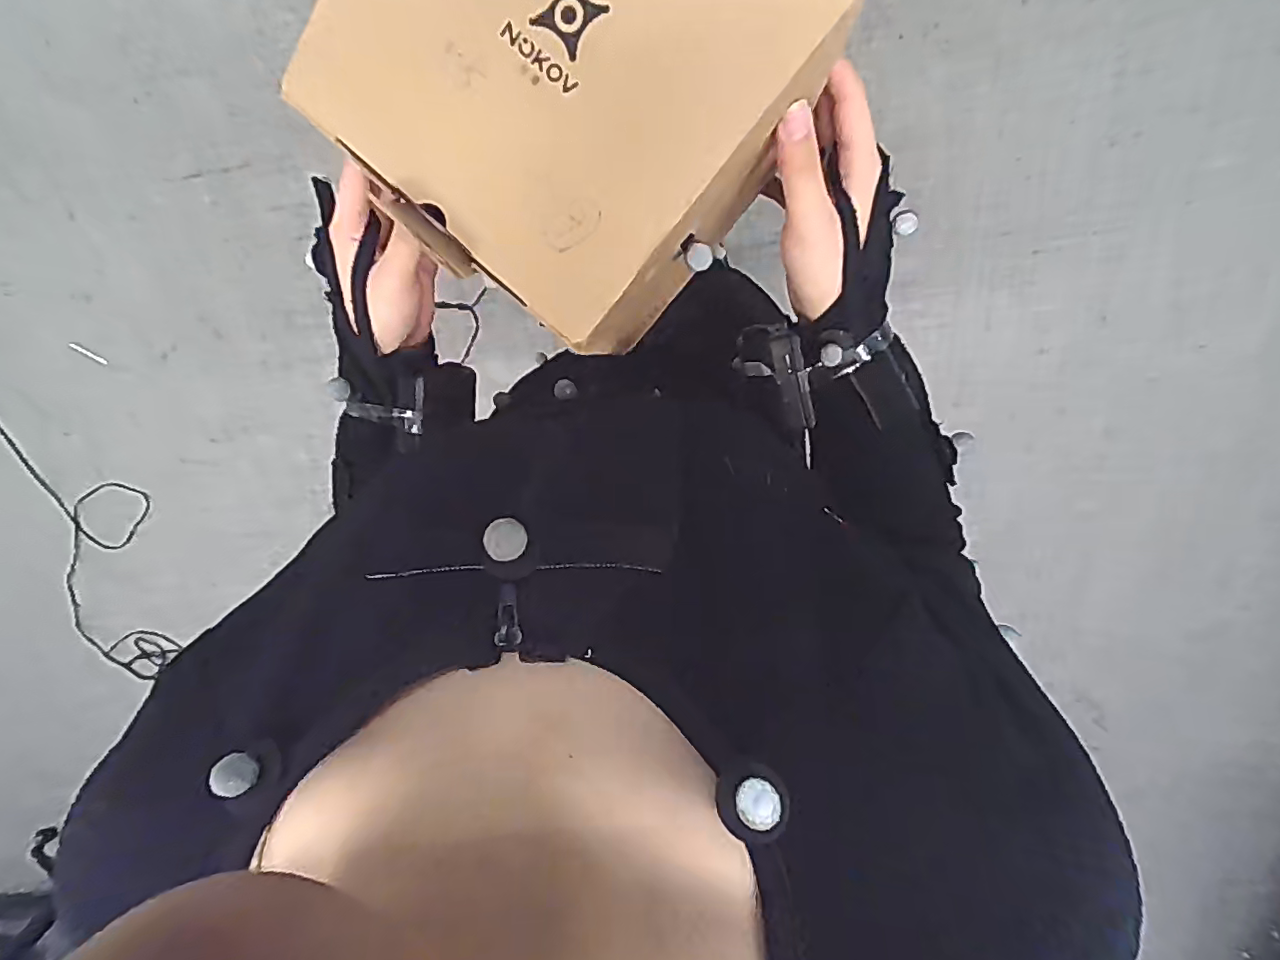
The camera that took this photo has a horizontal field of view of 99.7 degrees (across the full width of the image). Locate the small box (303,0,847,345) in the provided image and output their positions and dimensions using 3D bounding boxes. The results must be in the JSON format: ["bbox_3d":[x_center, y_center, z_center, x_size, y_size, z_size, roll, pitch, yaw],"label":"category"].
[{"bbox_3d":[-0.024,-0.191,0.297,0.168,0.176,0.179,40,104,-4],"label":"small box"}]
